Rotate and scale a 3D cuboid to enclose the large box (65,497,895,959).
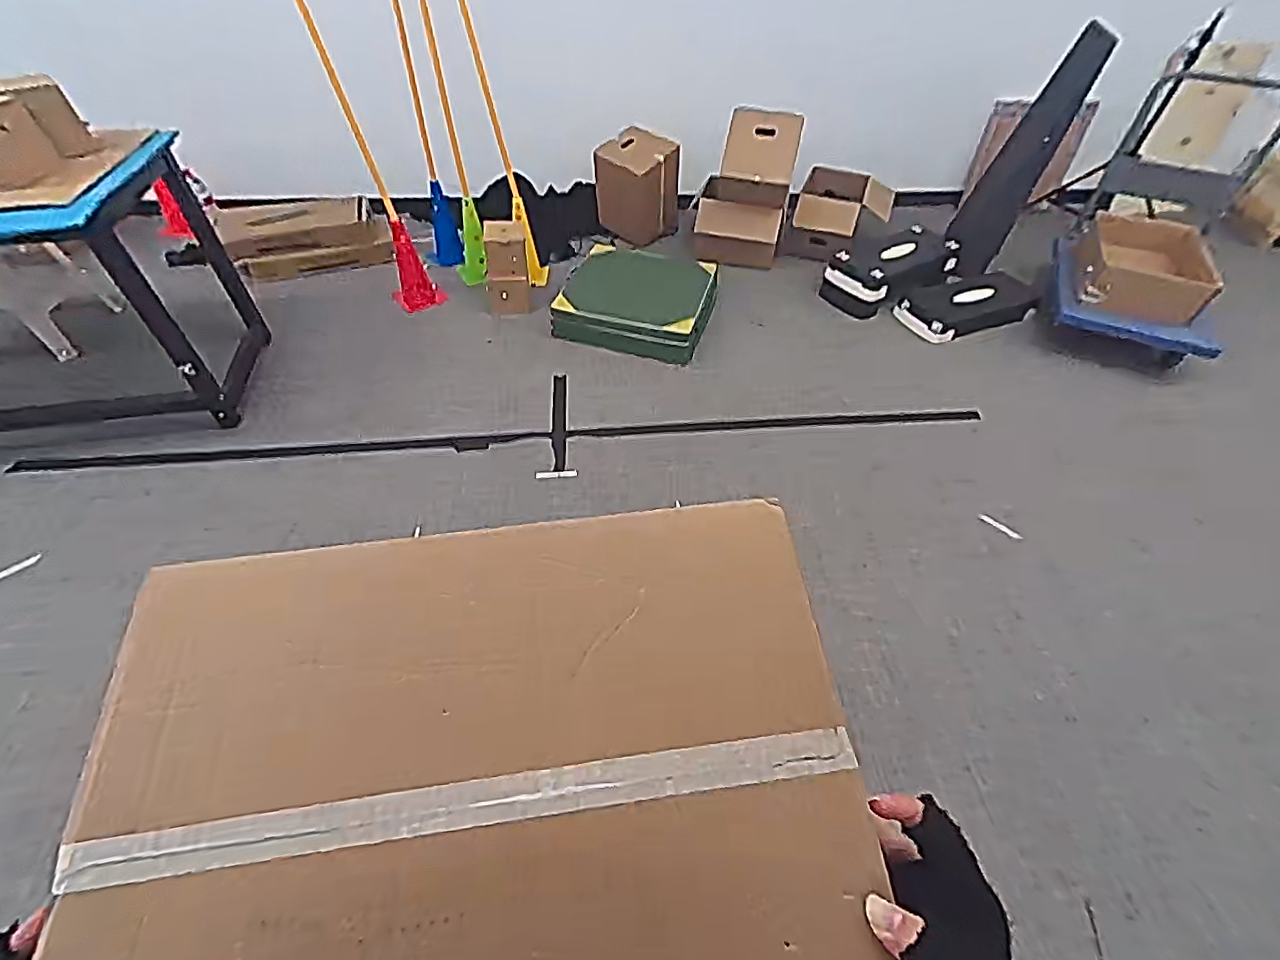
[{"bbox_3d":[-0.088,0.239,0.429,0.408,0.320,0.320,-6,63,-4],"label":"large box"}]
